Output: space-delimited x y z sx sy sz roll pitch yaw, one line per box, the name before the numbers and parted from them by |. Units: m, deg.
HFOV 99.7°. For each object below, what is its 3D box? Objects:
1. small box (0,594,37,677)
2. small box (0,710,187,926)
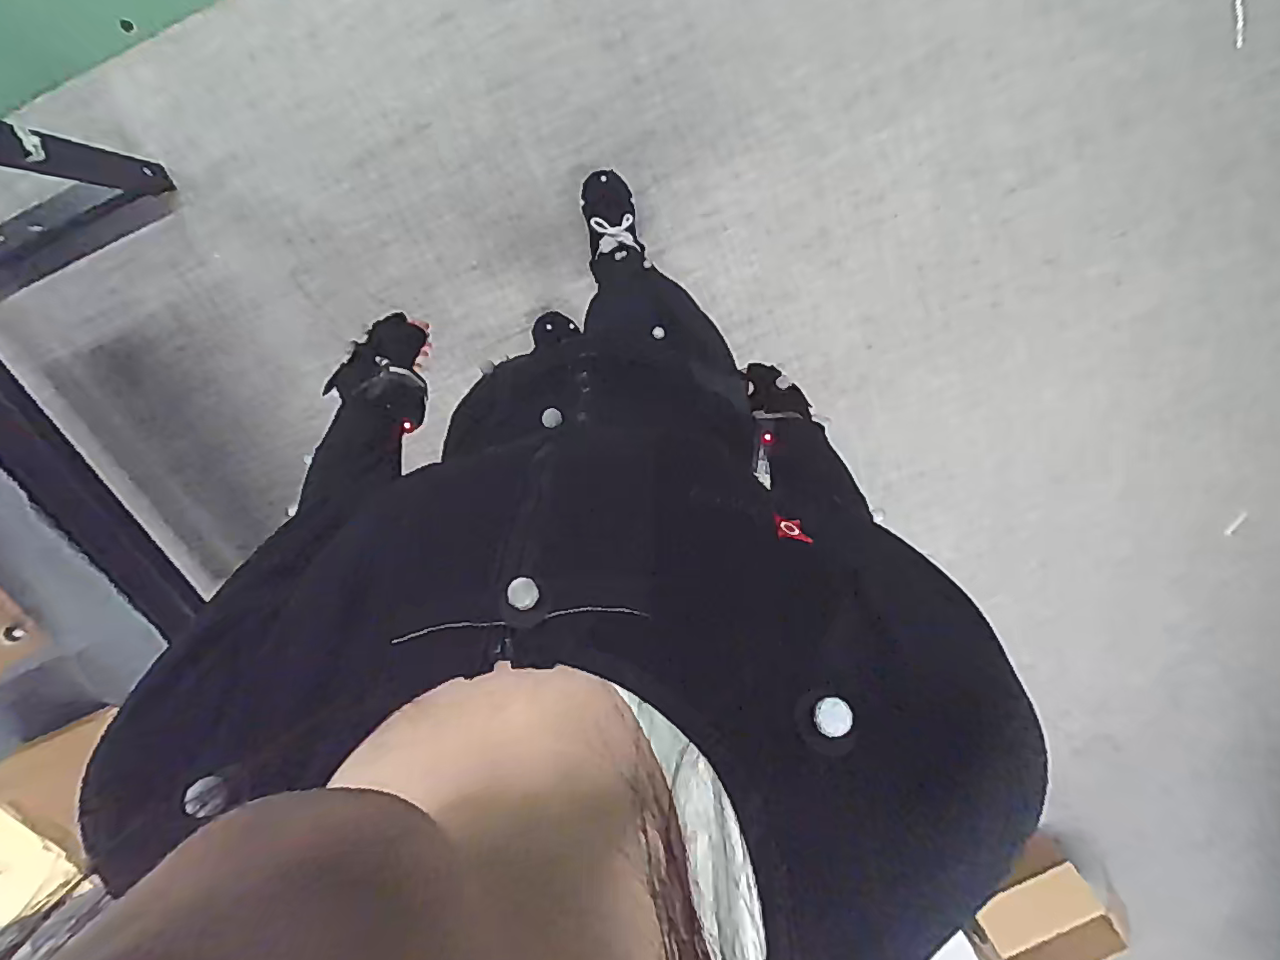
small box | -0.924 0.218 0.661 0.179 0.176 0.168 -23 110 4
small box | -0.812 0.464 0.760 0.179 0.176 0.168 -24 109 5
